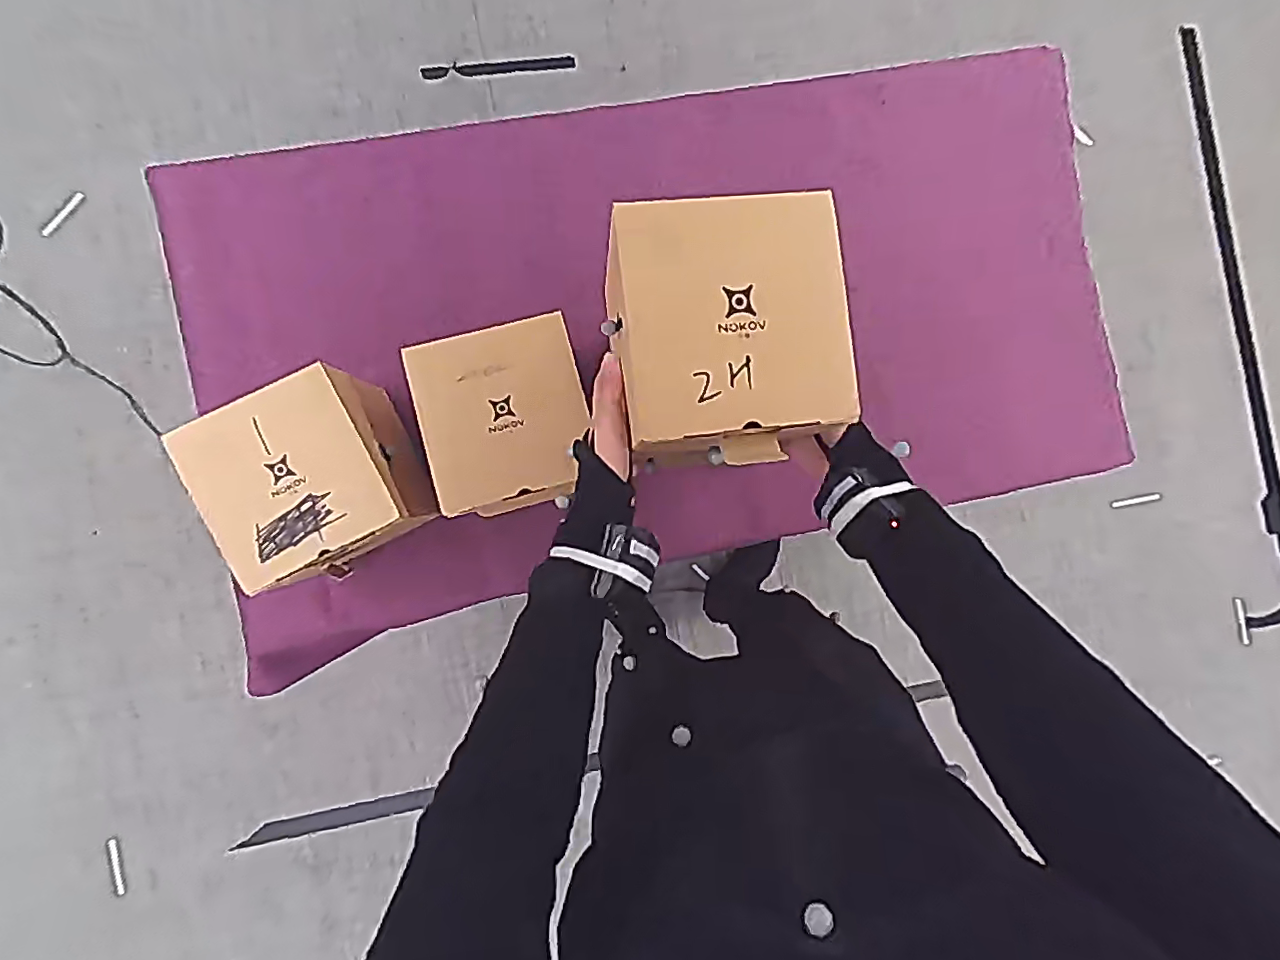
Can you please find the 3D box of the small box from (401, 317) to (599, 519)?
[{"bbox_3d":[-0.145,-0.063,0.623,0.168,0.176,0.179,-15,90,-6],"label":"small box"}]

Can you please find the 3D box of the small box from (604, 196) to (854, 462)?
[{"bbox_3d":[0.059,-0.115,0.470,0.168,0.176,0.179,-6,88,-6],"label":"small box"}]
